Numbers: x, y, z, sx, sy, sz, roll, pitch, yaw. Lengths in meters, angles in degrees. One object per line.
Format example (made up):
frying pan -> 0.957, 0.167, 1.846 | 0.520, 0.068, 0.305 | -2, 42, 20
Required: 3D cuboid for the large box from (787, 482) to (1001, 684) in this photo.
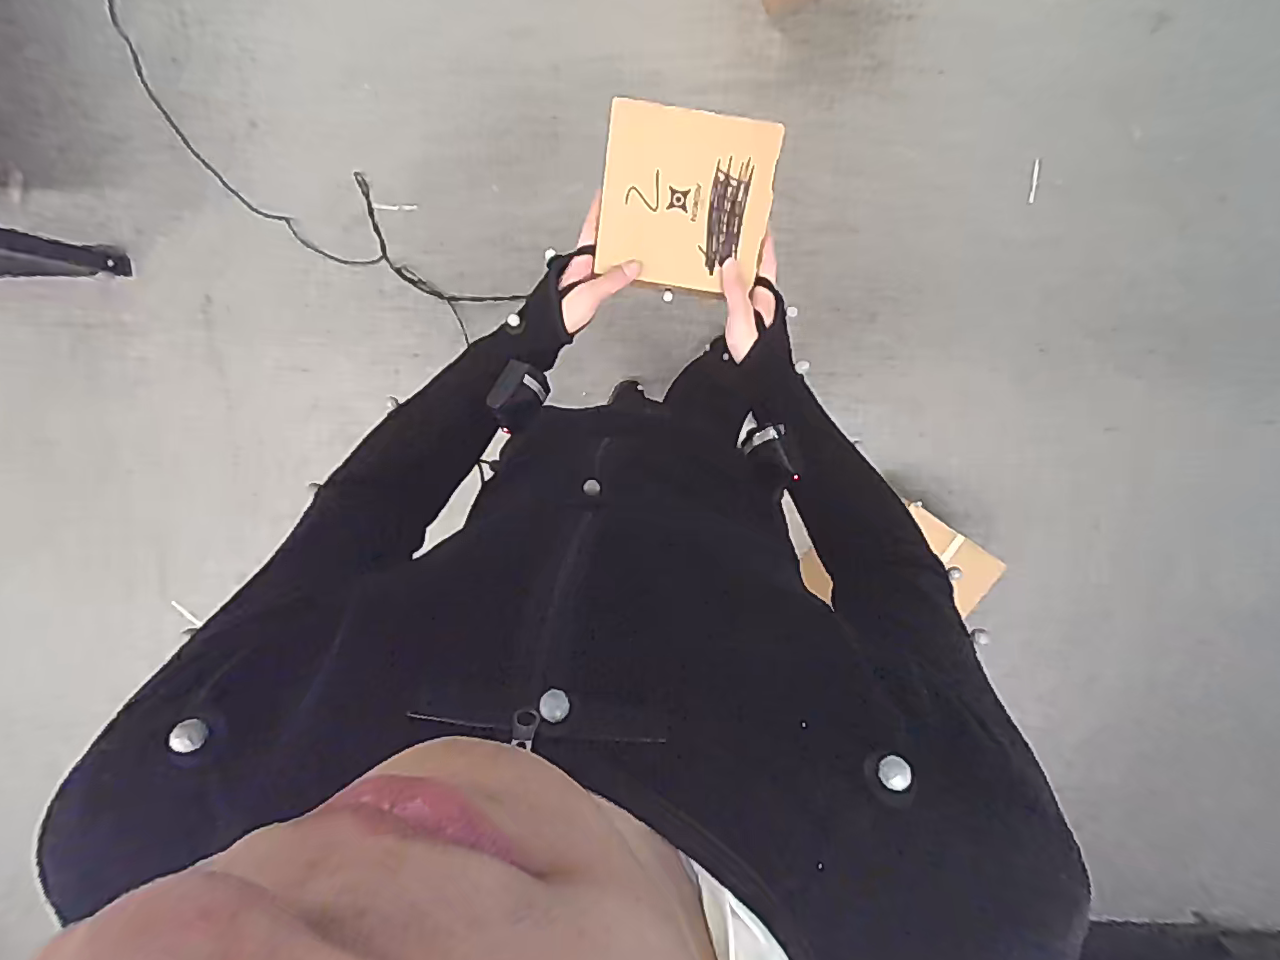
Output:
large box -> 0.685, 0.272, 1.529 | 0.320, 0.320, 0.408 | 33, 98, -7
